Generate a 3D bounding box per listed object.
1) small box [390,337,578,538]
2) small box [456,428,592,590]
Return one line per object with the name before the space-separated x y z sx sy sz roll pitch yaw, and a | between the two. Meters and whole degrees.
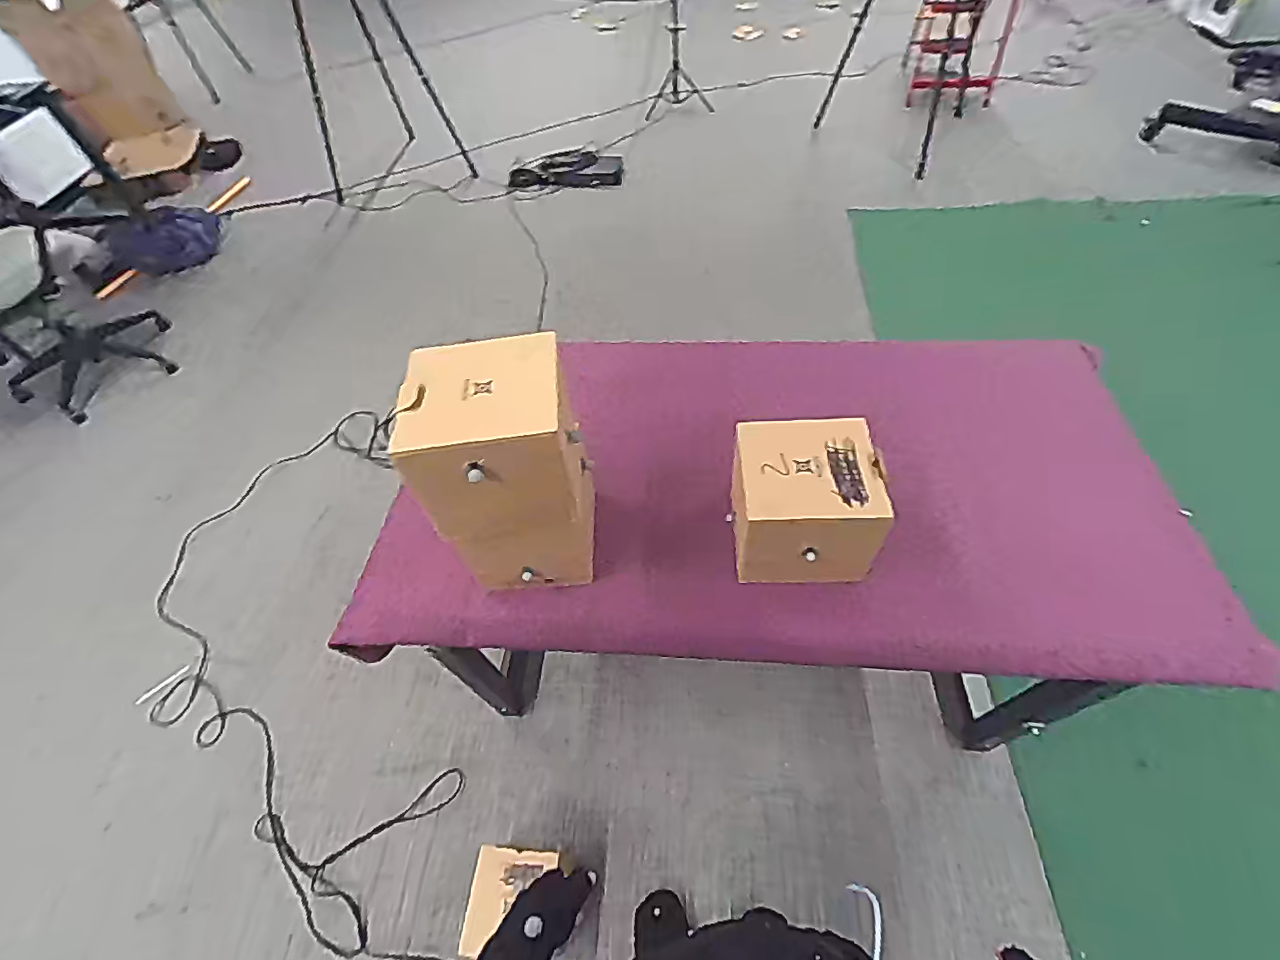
small box | -0.170 -0.047 0.657 0.179 0.176 0.168 -7 52 -1
small box | -0.163 0.044 0.793 0.168 0.176 0.179 -3 52 2
